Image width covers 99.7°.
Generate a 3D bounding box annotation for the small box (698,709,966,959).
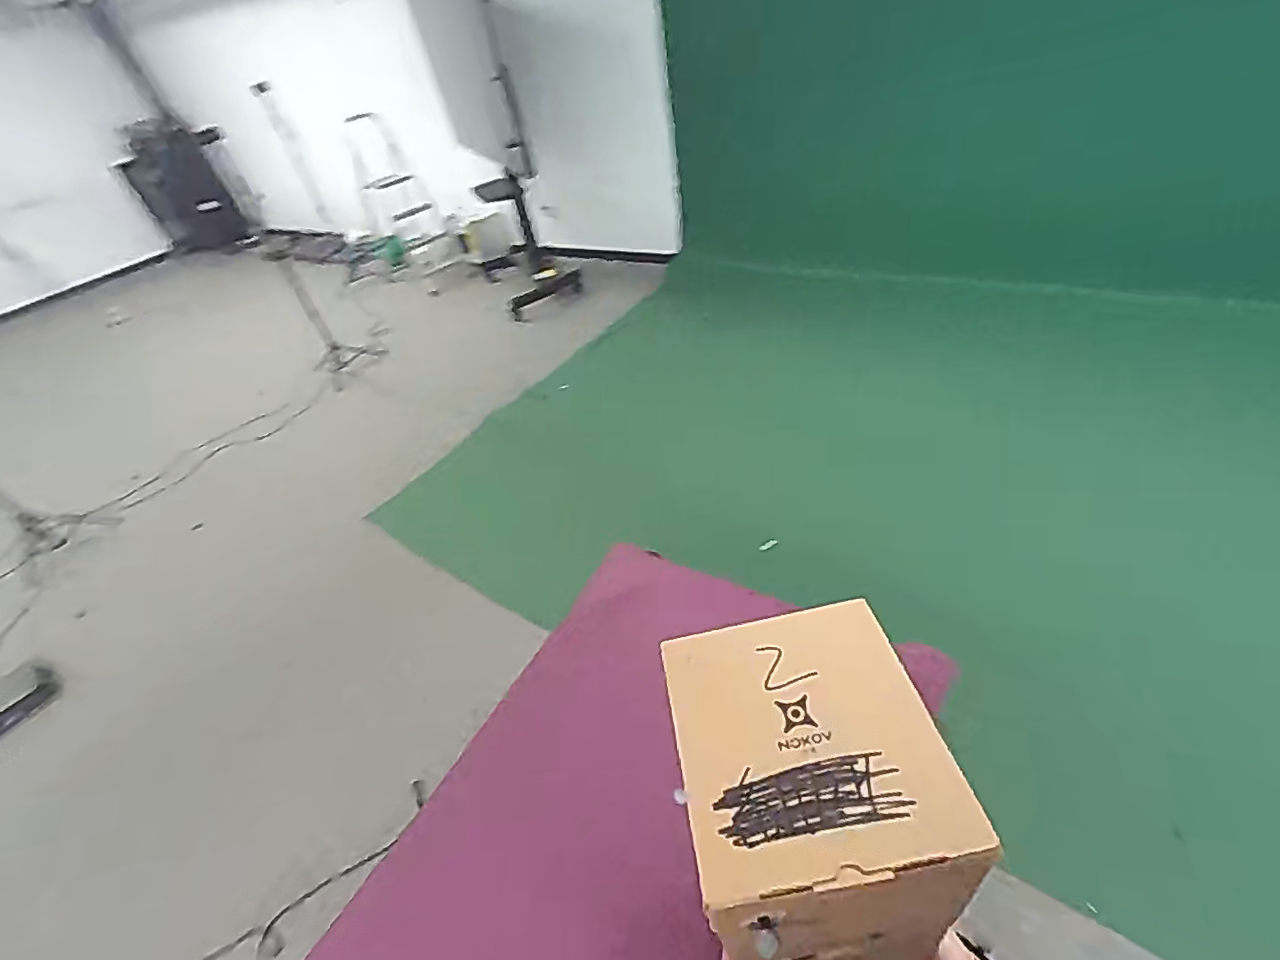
[{"bbox_3d":[0.158,0.351,0.502,0.168,0.176,0.179,-14,40,0],"label":"small box"}]
